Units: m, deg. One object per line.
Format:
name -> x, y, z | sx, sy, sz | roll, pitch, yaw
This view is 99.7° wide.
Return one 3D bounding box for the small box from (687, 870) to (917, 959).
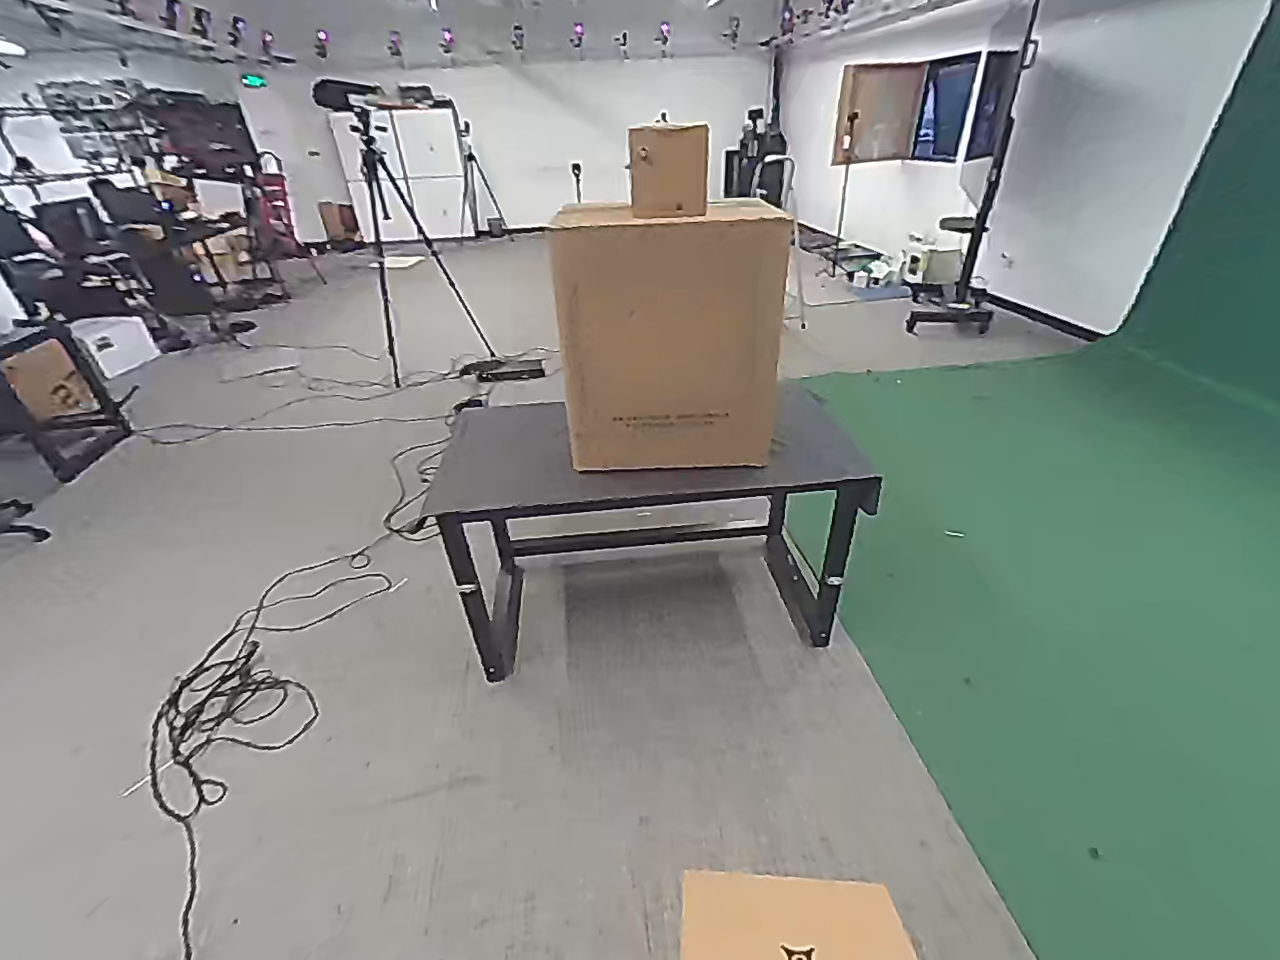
small box -> 0.111, 0.420, 0.370 | 0.168, 0.176, 0.179 | 1, 3, 7
